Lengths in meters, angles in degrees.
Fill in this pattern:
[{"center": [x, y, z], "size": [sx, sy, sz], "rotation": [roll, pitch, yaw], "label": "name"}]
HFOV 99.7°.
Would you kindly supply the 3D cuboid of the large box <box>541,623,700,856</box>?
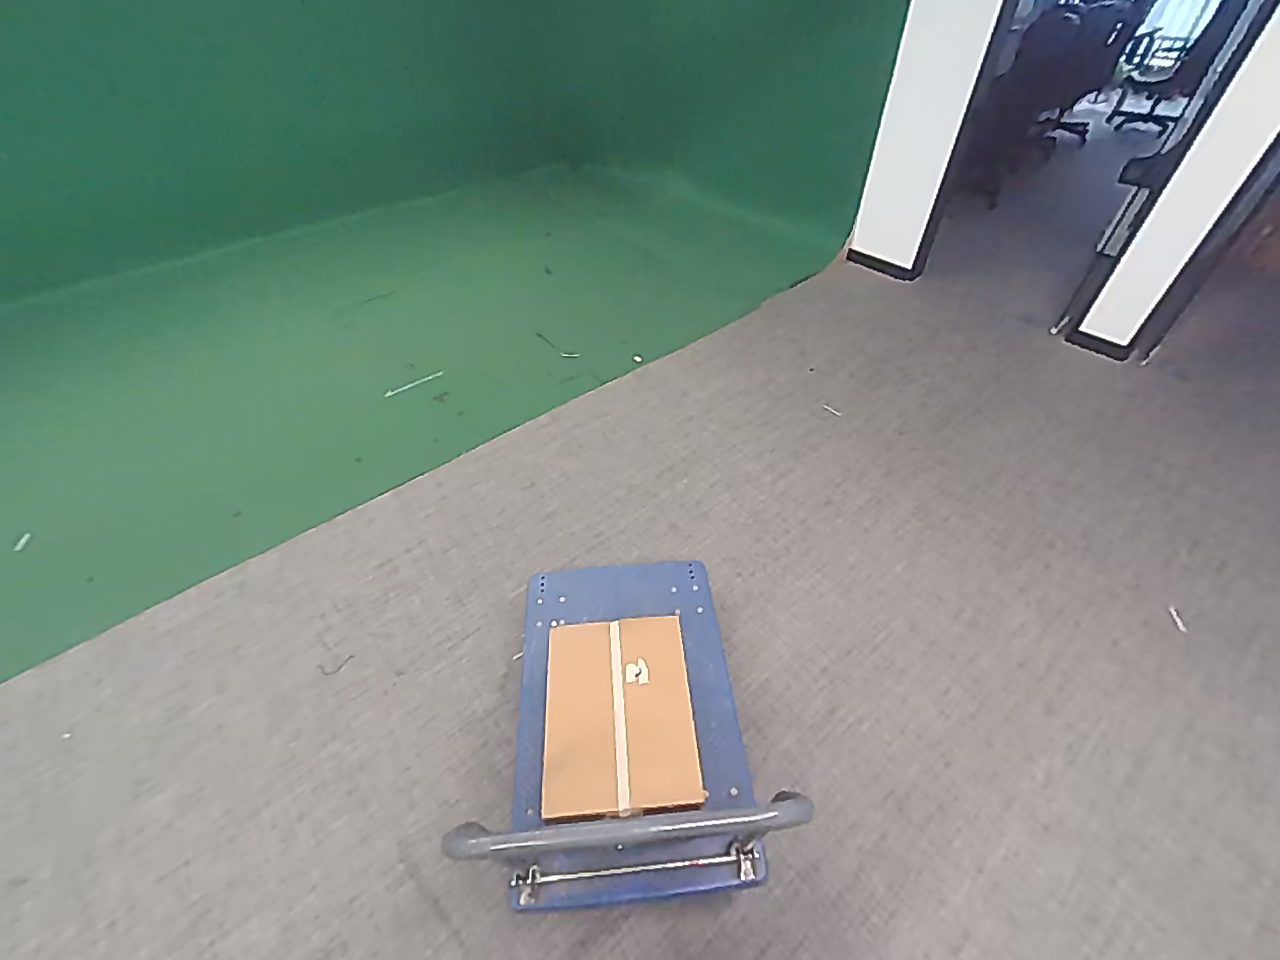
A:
[{"center": [-0.045, 0.605, 1.278], "size": [0.320, 0.320, 0.408], "rotation": [-4, 44, -2], "label": "large box"}]
